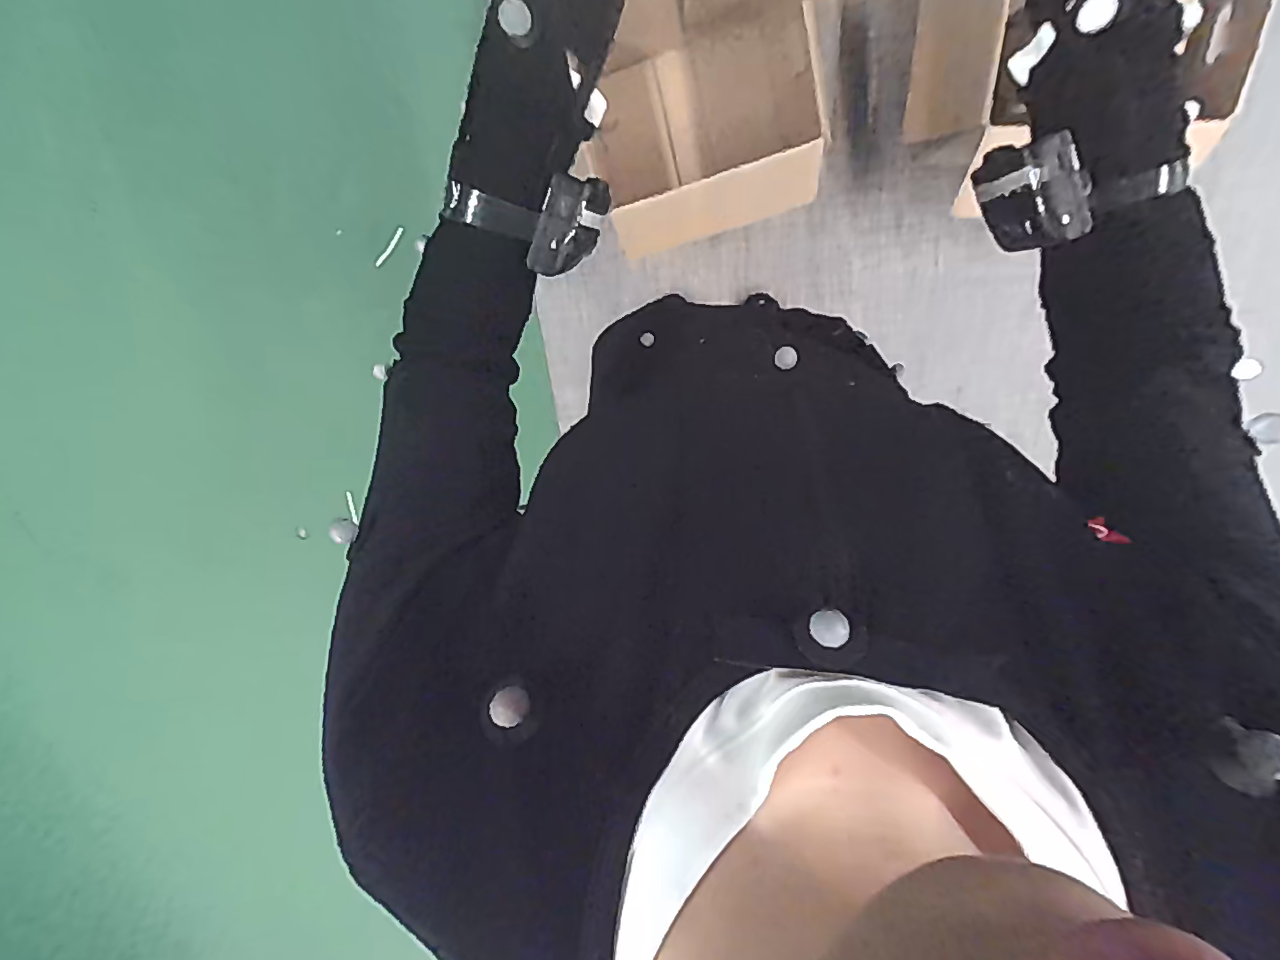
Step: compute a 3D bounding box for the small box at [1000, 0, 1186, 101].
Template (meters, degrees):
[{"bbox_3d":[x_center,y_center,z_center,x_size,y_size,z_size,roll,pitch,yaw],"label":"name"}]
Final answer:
[{"bbox_3d":[0.751,-0.756,0.902,0.179,0.176,0.168,1,109,5],"label":"small box"}]
